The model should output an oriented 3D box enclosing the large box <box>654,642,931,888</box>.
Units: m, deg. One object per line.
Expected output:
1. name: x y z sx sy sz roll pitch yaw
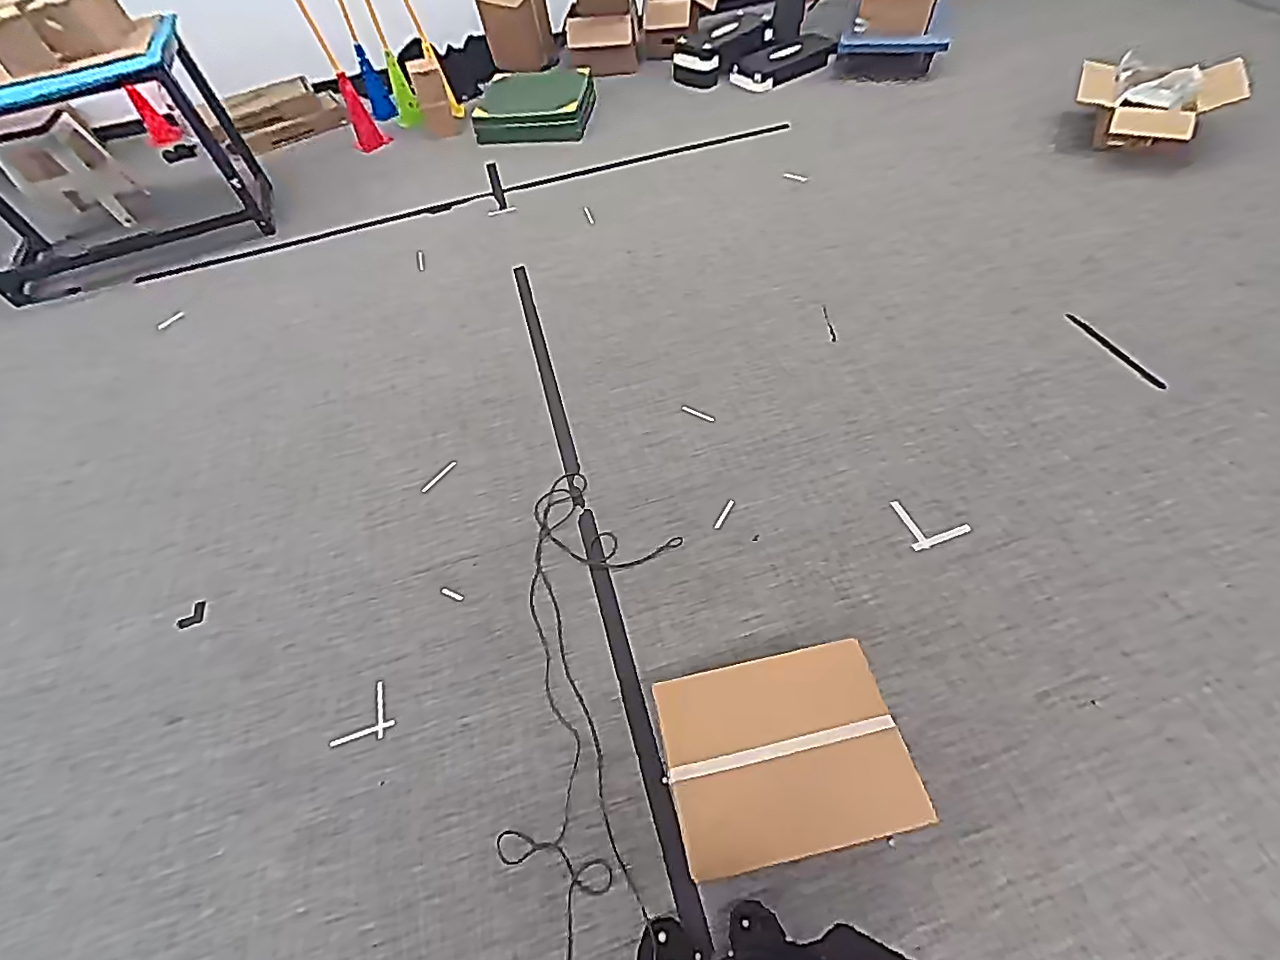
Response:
1. large box: 0.261 0.559 1.063 0.408 0.320 0.320 -12 53 -3
